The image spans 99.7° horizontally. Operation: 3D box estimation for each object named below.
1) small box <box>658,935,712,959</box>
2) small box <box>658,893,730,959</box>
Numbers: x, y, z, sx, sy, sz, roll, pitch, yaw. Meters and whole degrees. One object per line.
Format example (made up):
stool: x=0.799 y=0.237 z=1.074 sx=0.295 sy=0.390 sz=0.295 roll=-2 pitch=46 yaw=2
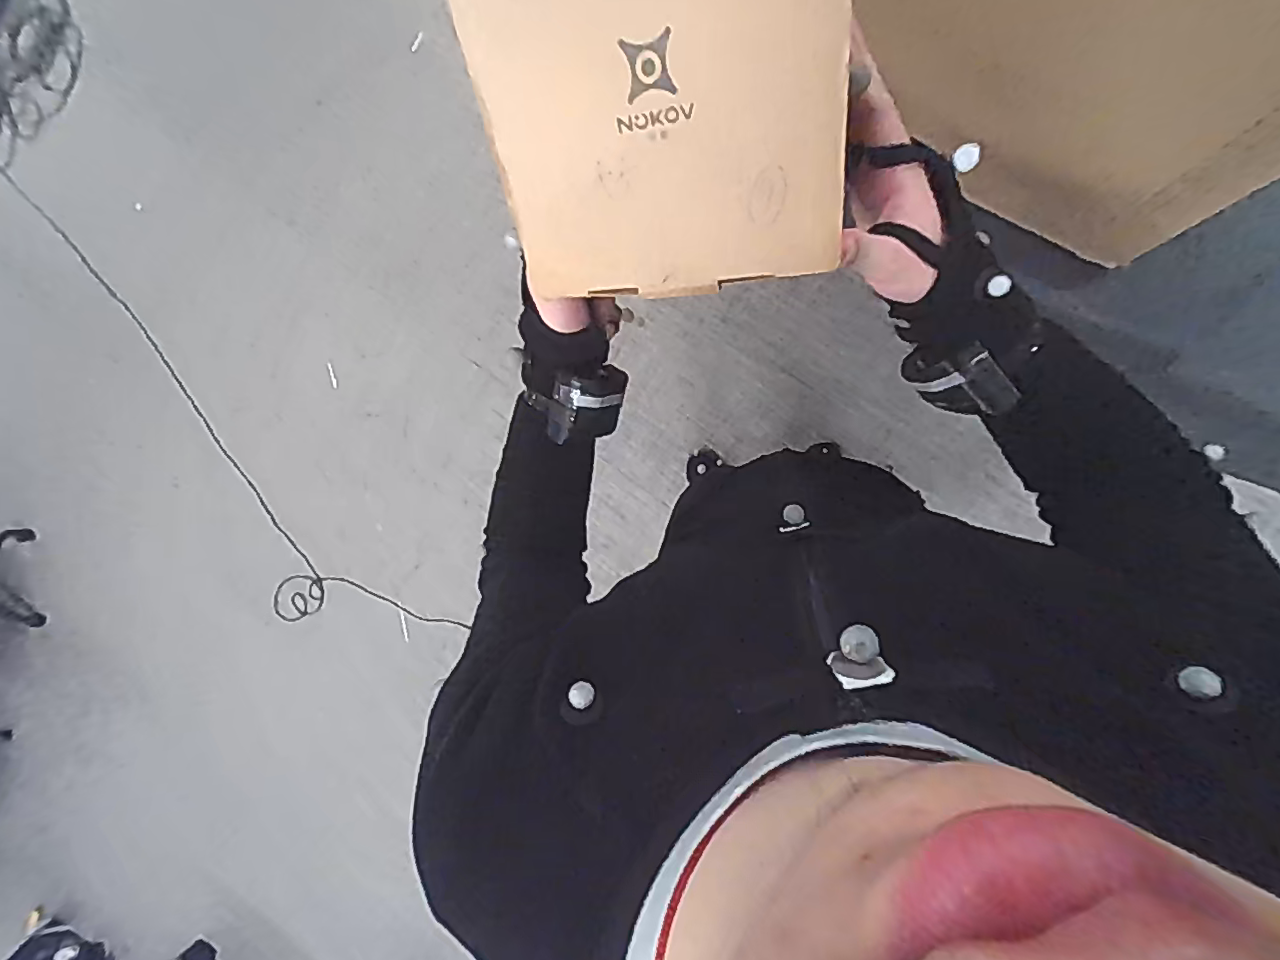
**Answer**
small box: x=0.110 y=1.402 z=1.454 sx=0.168 sy=0.176 sz=0.179 roll=25 pitch=99 yaw=13
small box: x=0.159 y=1.396 z=1.611 sx=0.168 sy=0.176 sz=0.179 roll=24 pitch=101 yaw=14
